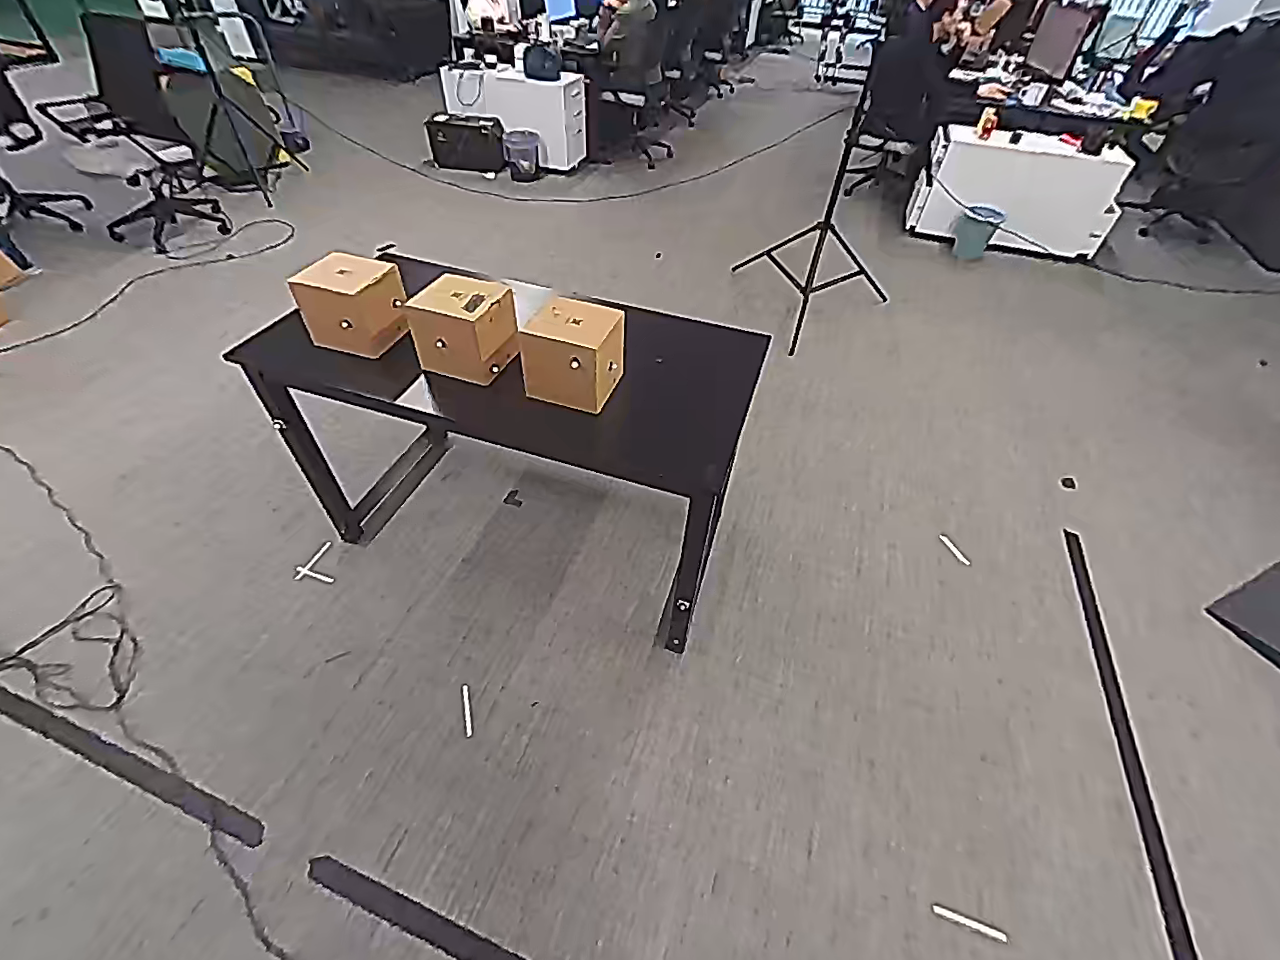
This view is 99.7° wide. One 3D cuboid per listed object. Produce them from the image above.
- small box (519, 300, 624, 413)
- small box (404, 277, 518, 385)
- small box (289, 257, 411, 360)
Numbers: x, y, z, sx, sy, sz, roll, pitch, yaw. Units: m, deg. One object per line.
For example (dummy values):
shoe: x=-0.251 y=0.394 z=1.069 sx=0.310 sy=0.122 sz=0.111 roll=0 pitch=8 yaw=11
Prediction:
small box: x=-0.145 y=-0.271 z=1.198 sx=0.179 sy=0.176 sz=0.168 roll=15 pitch=46 yaw=11
small box: x=-0.401 y=-0.340 z=1.250 sx=0.179 sy=0.176 sz=0.168 roll=15 pitch=47 yaw=12
small box: x=-0.684 y=-0.409 z=1.301 sx=0.179 sy=0.176 sz=0.168 roll=13 pitch=46 yaw=10
